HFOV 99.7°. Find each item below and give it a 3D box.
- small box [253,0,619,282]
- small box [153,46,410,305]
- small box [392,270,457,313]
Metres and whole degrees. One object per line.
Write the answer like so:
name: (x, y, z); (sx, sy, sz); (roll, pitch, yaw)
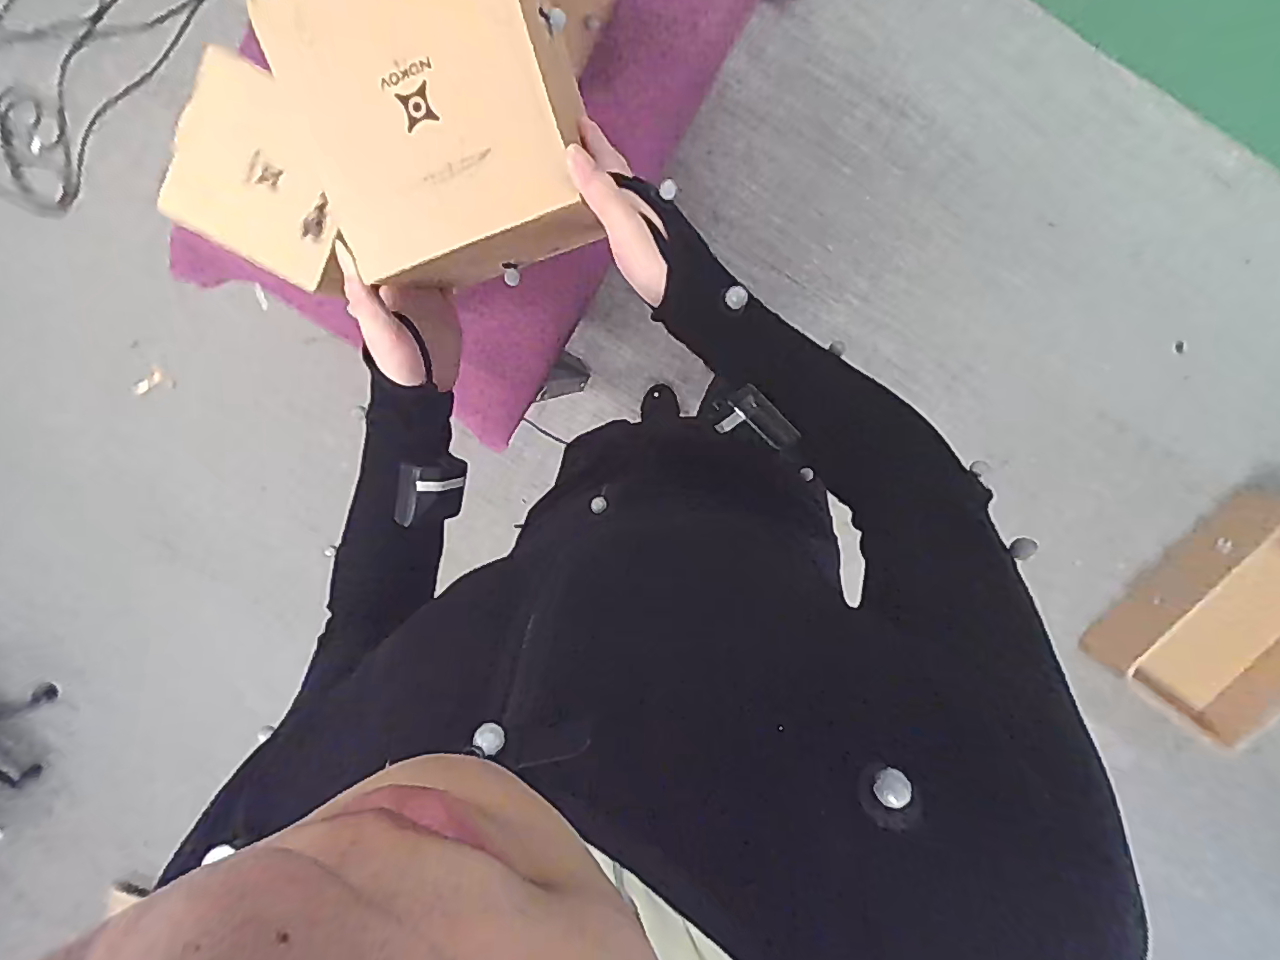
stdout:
small box: (-0.125, -0.261, 0.405); (0.168, 0.176, 0.179); (-14, 106, 12)
small box: (-0.361, -0.310, 0.598); (0.179, 0.176, 0.168); (28, 102, -2)
small box: (-0.361, -0.348, 0.757); (0.179, 0.176, 0.168); (26, 102, -2)
